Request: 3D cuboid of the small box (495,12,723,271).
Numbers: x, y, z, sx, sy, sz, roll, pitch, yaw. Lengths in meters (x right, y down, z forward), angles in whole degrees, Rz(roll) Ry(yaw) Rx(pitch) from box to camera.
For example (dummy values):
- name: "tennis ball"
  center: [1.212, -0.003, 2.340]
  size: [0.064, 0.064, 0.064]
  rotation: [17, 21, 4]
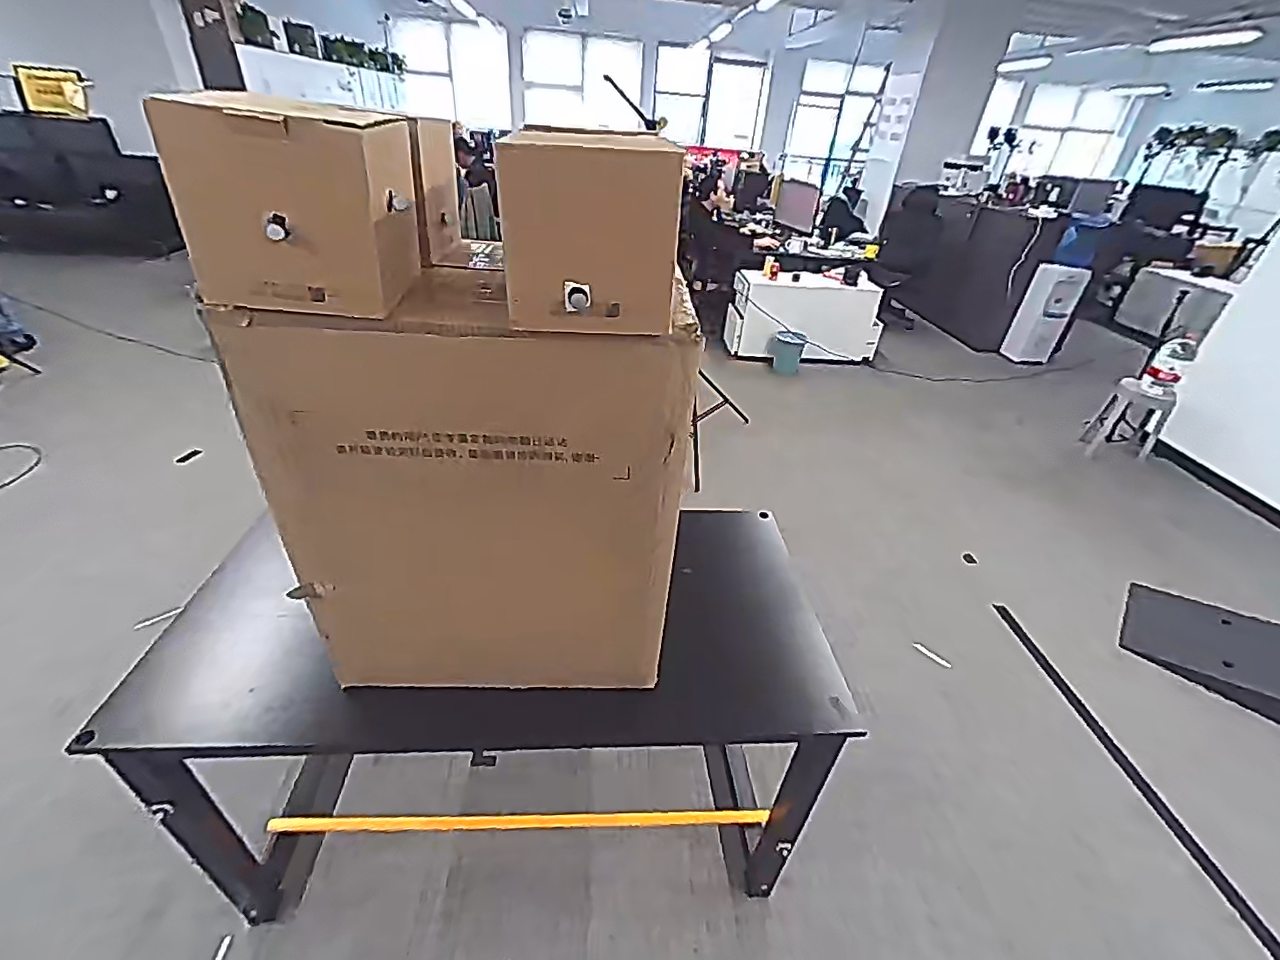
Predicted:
- name: "small box"
  center: [-0.030, -0.303, 0.495]
  size: [0.168, 0.176, 0.179]
  rotation: [-1, 36, -5]

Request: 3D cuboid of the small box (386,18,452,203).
- name: "small box"
  center: [-0.335, -0.432, 0.639]
  size: [0.179, 0.176, 0.168]
  rotation: [4, 33, -5]

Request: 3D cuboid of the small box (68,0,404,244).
- name: "small box"
  center: [-0.314, -0.318, 0.471]
  size: [0.168, 0.176, 0.179]
  rotation: [2, 37, -11]
